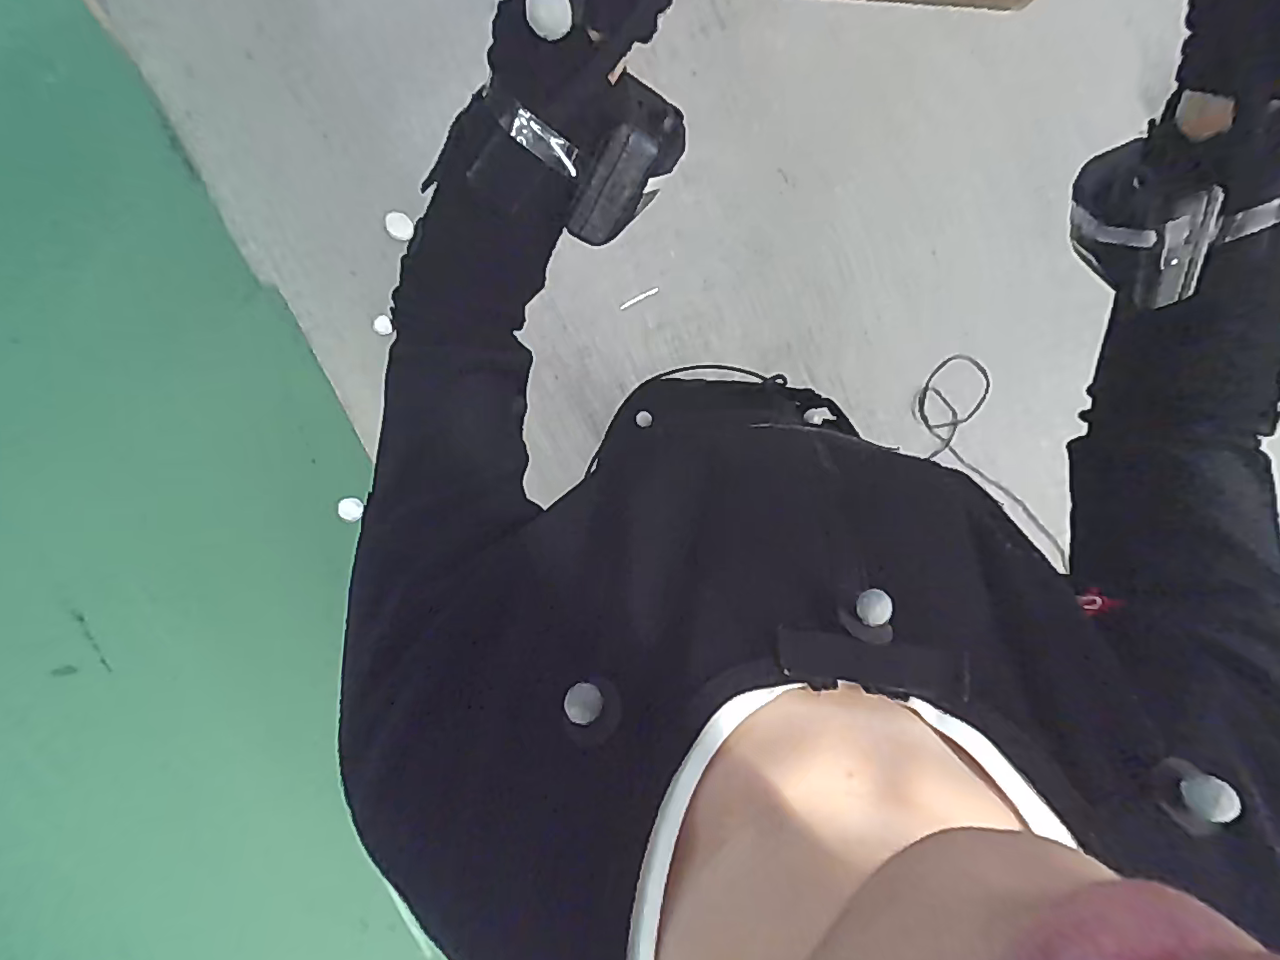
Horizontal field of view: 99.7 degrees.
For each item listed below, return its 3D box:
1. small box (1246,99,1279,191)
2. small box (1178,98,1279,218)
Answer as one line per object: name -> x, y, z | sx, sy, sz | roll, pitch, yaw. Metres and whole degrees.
small box -> 1.337, -0.688, 1.022 | 0.179, 0.176, 0.168 | -25, 96, 7
small box -> 1.351, -0.713, 1.184 | 0.168, 0.176, 0.179 | -25, 96, 8
